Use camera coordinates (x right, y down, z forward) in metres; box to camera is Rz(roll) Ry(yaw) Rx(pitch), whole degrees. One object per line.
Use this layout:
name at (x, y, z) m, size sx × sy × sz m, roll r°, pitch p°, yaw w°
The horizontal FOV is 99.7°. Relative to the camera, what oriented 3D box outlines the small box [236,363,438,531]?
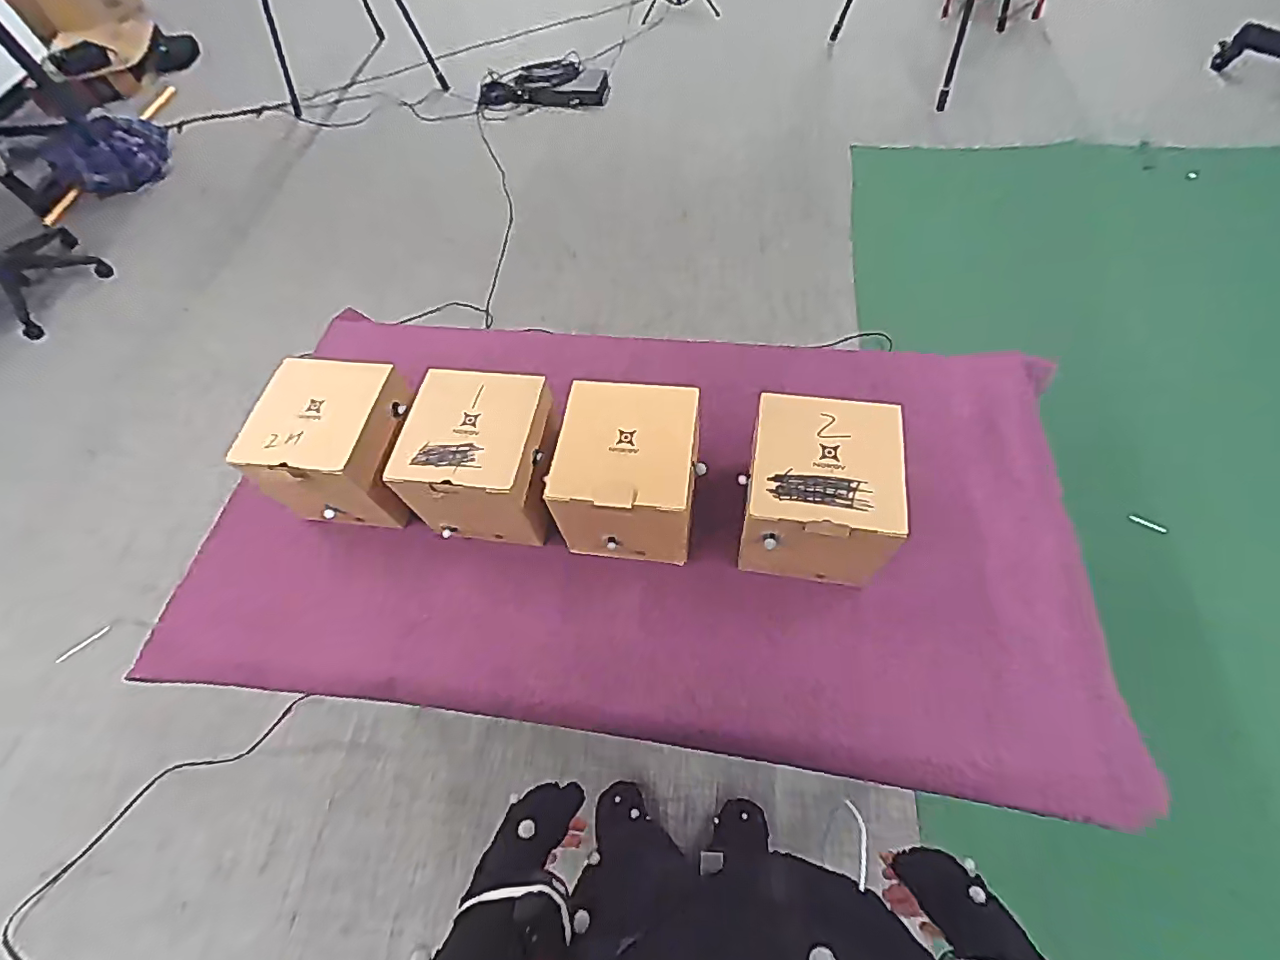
small box at (-0.418, -0.045, 0.787) m, size 0.168 × 0.176 × 0.179 m, roll 5°, pitch 61°, yaw 9°
